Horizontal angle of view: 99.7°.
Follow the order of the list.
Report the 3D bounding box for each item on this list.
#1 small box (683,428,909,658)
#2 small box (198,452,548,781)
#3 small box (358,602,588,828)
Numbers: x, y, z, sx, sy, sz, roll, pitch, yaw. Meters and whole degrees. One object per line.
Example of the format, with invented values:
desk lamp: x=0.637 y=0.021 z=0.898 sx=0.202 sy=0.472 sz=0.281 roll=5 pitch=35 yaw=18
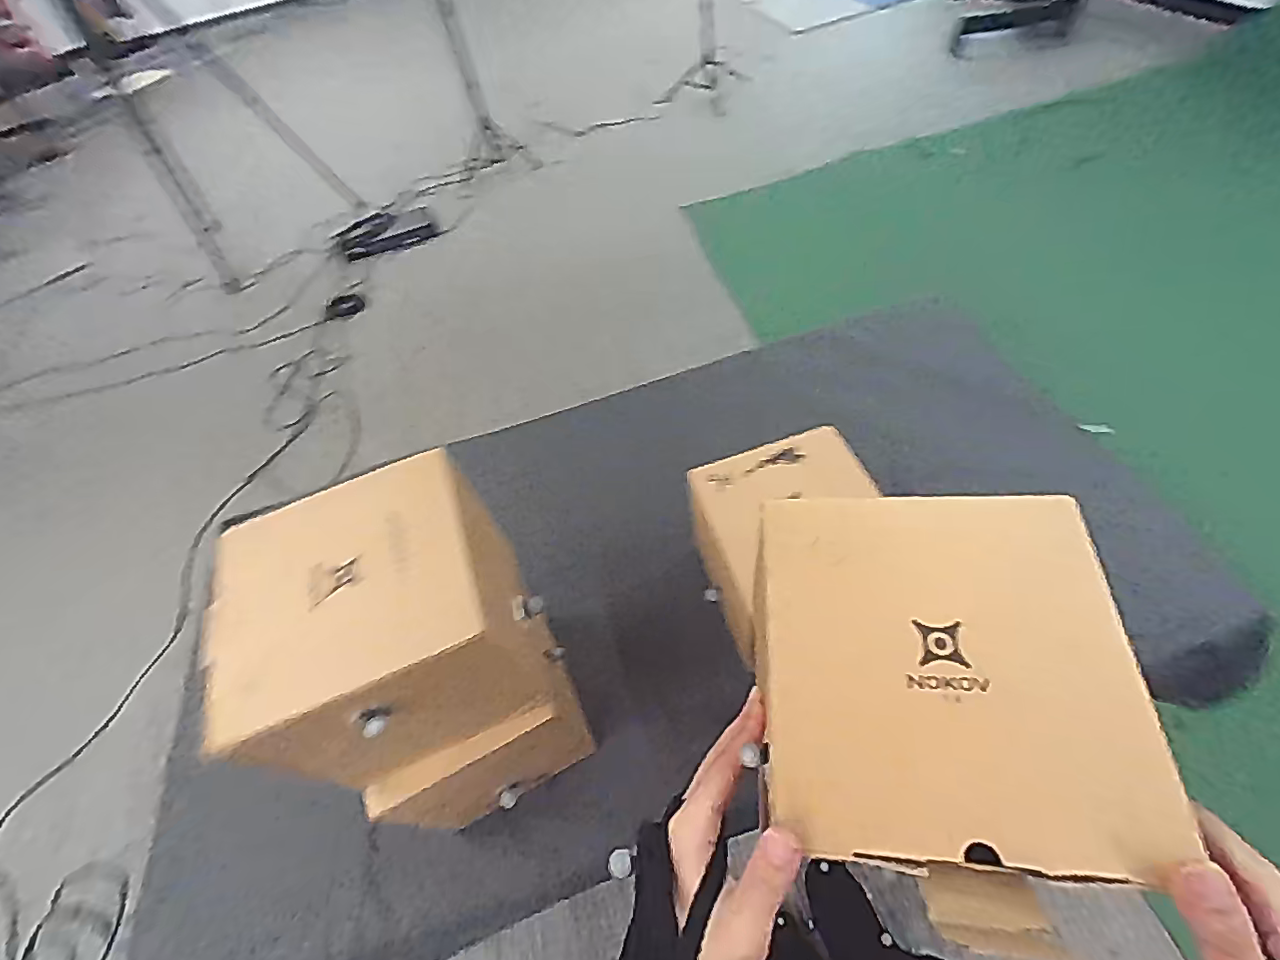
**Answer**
small box: x=0.158 y=0.079 z=0.597 sx=0.168 sy=0.176 sz=0.179 roll=-18 pitch=54 yaw=-3
small box: x=-0.194 y=0.114 z=0.430 sx=0.179 sy=0.176 sz=0.168 roll=-23 pitch=55 yaw=-8
small box: x=-0.170 y=0.221 z=0.551 sx=0.168 sy=0.176 sz=0.179 roll=-27 pitch=55 yaw=-9
